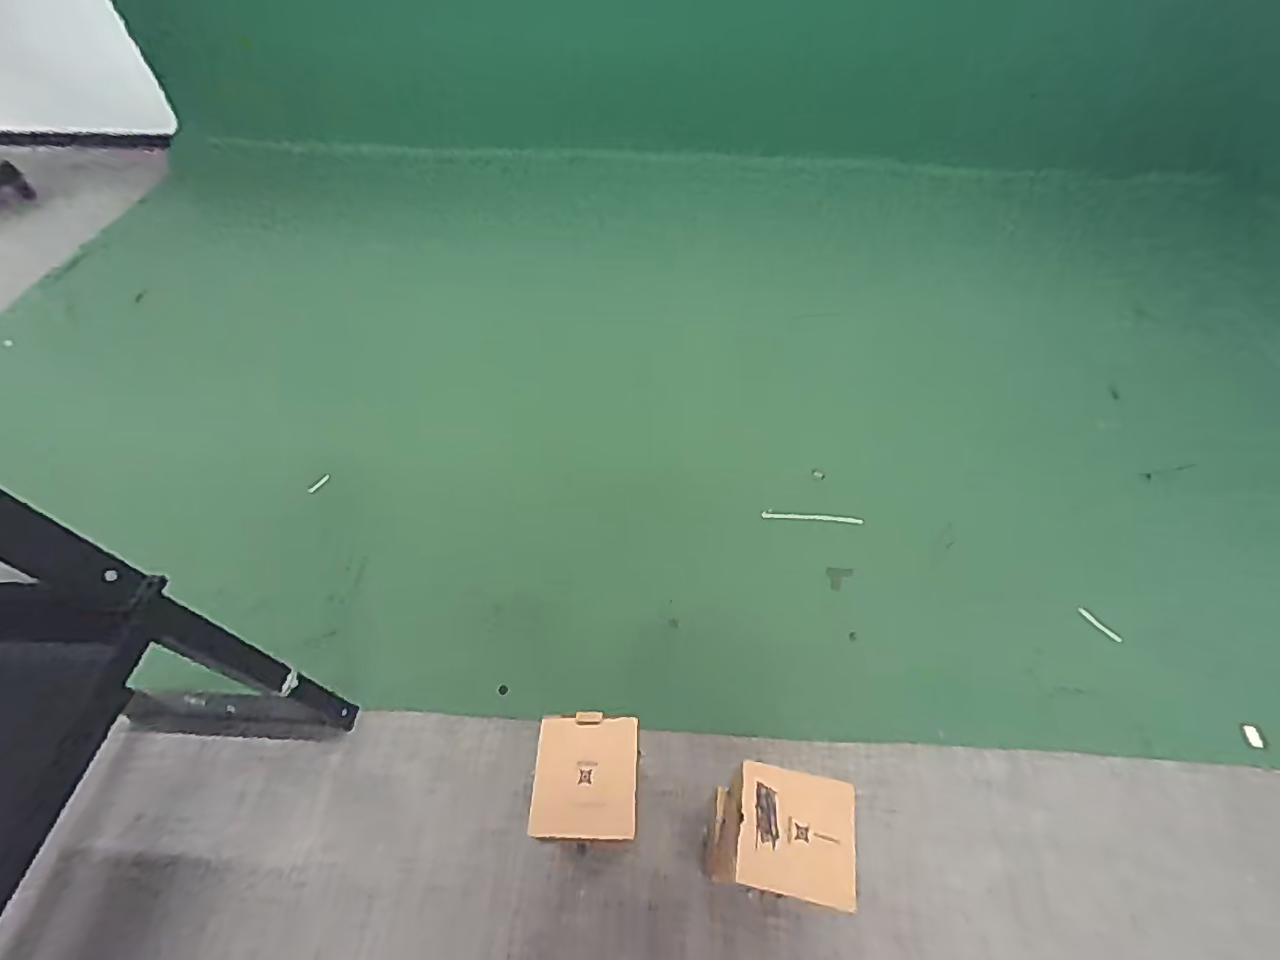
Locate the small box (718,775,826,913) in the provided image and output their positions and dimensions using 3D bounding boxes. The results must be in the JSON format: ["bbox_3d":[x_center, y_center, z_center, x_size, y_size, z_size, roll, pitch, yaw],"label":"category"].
[{"bbox_3d":[0.246,0.669,0.996,0.179,0.176,0.168,12,56,9],"label":"small box"}]

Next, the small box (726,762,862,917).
[{"bbox_3d":[0.238,0.572,0.864,0.179,0.176,0.168,10,55,7],"label":"small box"}]

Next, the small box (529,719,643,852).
[{"bbox_3d":[-0.081,0.516,0.911,0.168,0.176,0.179,-1,53,2],"label":"small box"}]
